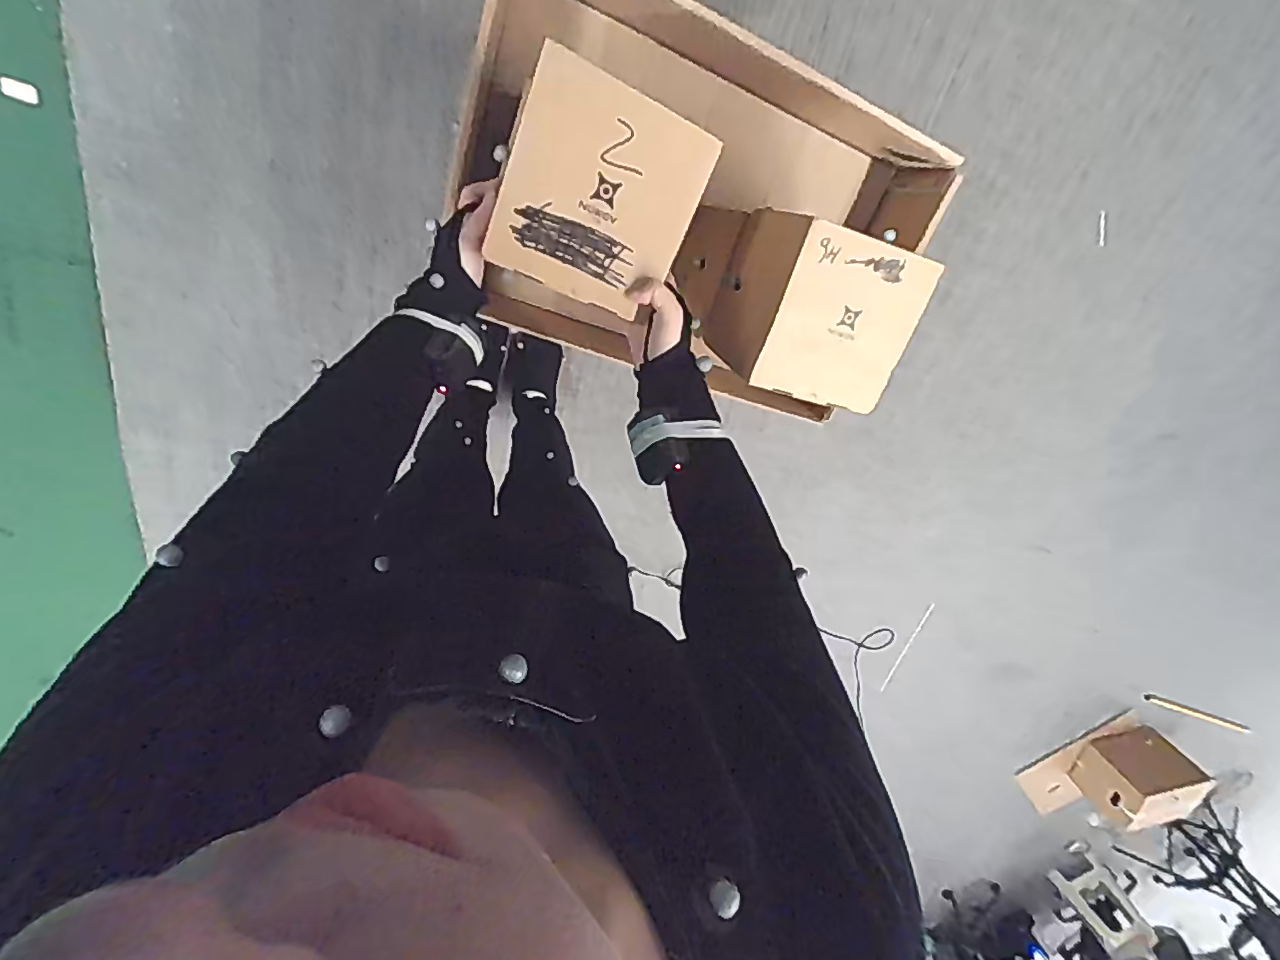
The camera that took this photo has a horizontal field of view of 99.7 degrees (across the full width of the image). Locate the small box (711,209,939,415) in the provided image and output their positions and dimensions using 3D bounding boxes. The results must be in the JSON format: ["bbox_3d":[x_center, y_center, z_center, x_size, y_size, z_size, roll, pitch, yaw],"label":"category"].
[{"bbox_3d":[0.201,-0.205,0.650,0.168,0.176,0.179,11,117,-19],"label":"small box"}]
